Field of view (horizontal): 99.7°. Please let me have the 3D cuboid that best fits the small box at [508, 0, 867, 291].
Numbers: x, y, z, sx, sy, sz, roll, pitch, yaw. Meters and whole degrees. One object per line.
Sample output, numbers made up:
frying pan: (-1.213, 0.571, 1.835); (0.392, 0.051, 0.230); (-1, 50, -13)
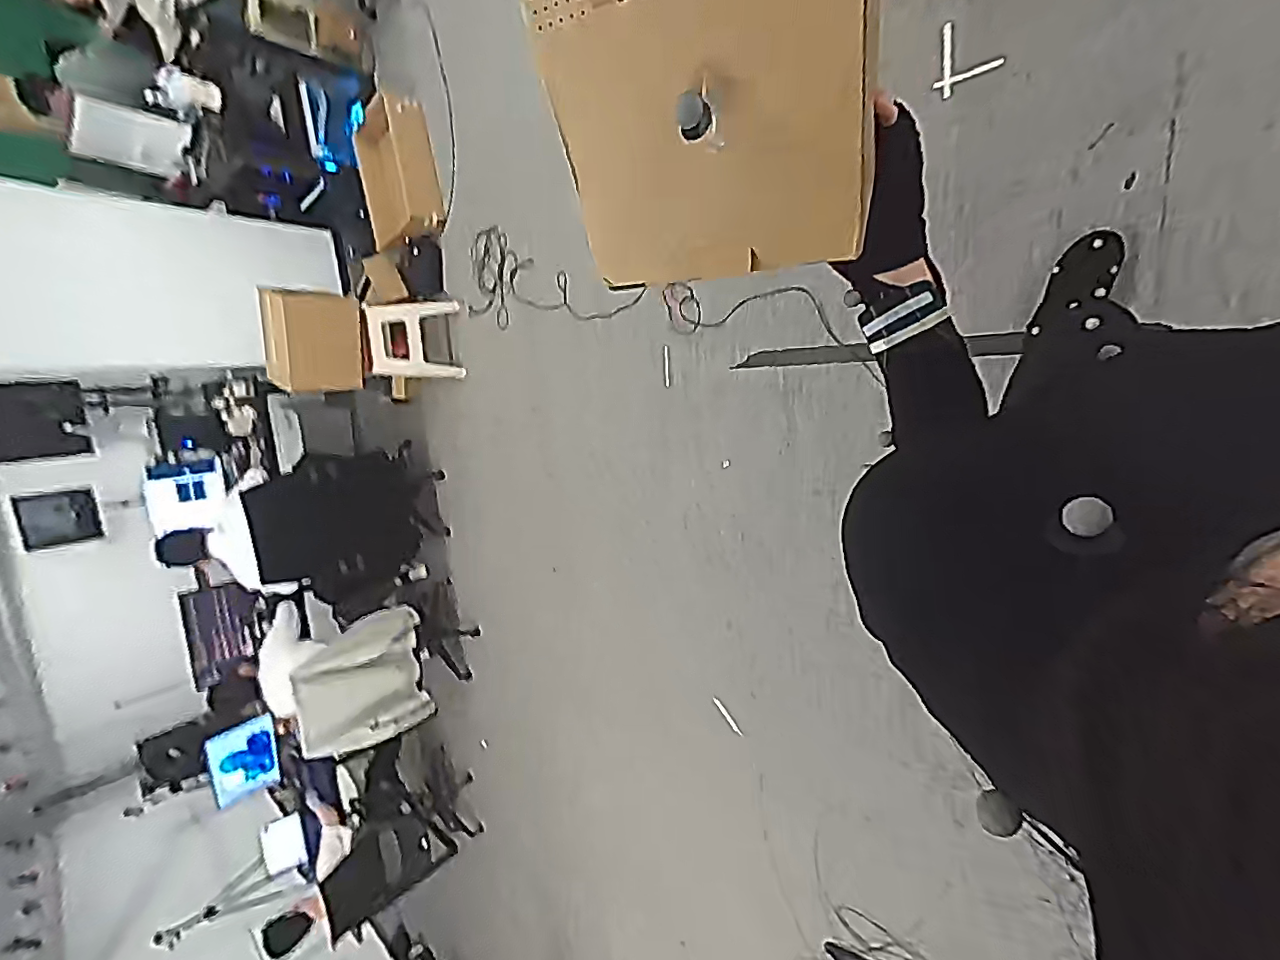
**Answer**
small box: (0.047, -0.241, 0.334); (0.168, 0.179, 0.176); (2, 131, 25)
